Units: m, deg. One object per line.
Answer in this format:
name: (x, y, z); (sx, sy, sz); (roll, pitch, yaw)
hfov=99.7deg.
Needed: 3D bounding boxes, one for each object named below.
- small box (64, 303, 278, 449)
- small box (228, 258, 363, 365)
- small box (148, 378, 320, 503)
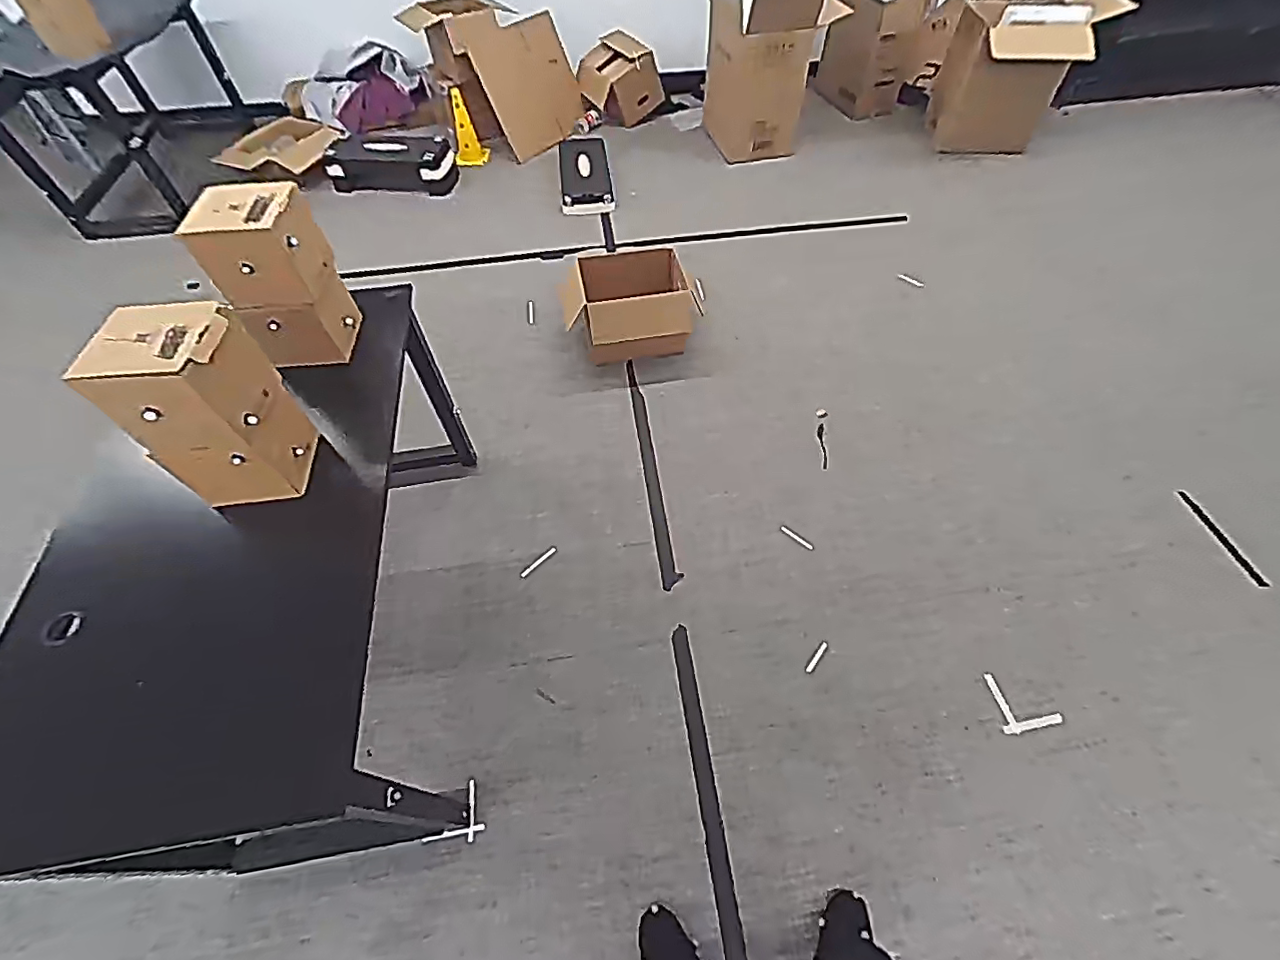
small box: (-0.742, -0.166, 0.885); (0.179, 0.176, 0.168); (-3, 55, -1)
small box: (-0.767, -0.376, 1.225); (0.179, 0.176, 0.168); (-4, 57, -1)
small box: (-0.747, -0.071, 1.018); (0.179, 0.176, 0.168); (-7, 56, -4)
